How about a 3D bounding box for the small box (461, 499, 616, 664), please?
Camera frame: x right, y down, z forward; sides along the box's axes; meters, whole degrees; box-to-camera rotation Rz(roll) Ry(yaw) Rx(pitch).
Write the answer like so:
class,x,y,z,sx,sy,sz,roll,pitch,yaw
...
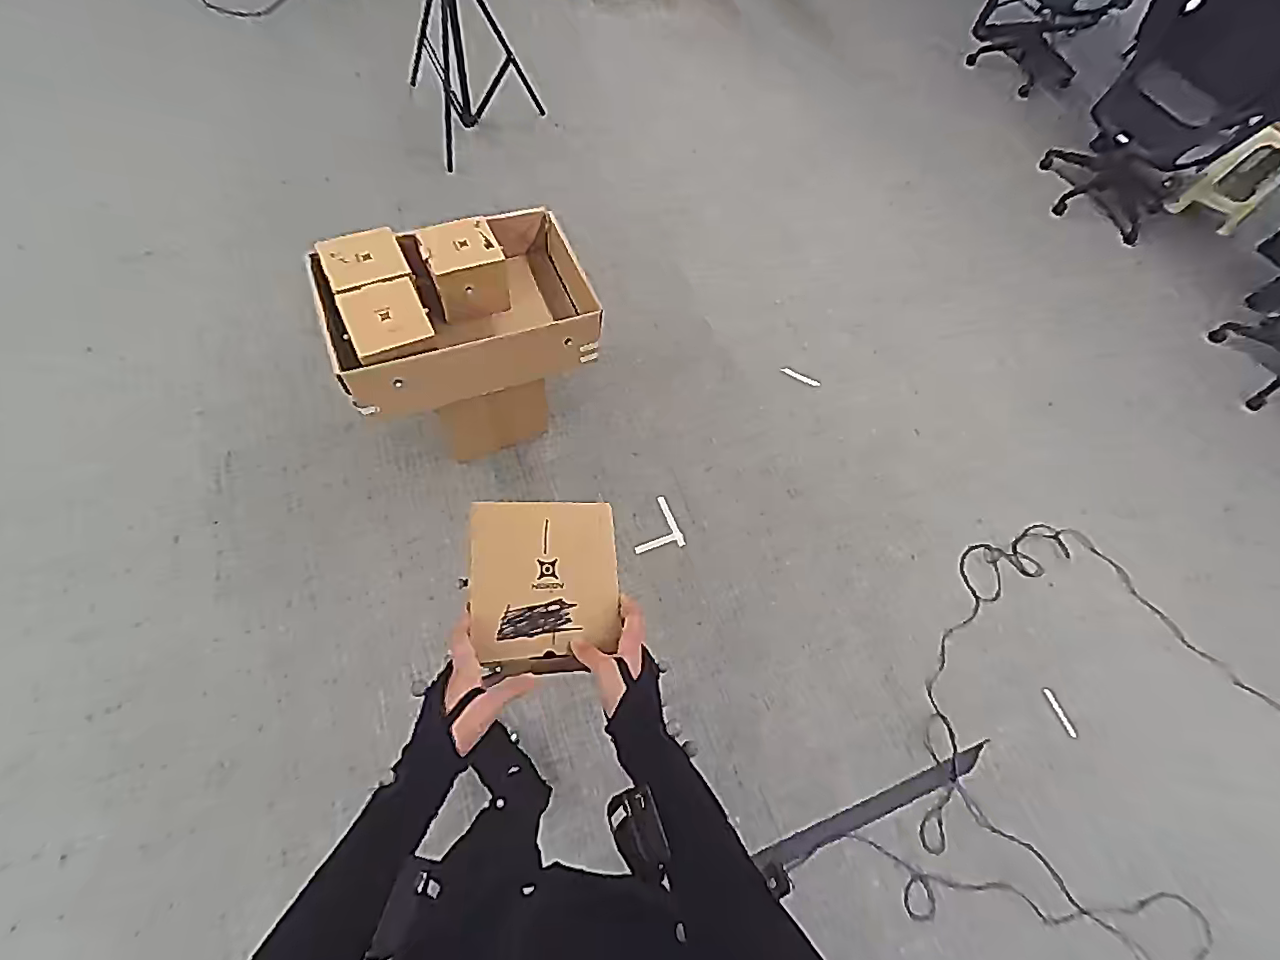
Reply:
class,x,y,z,sx,sy,sz,roll,pitch,yaw
small box,-0.133,0.133,0.672,0.168,0.176,0.179,2,69,-19
